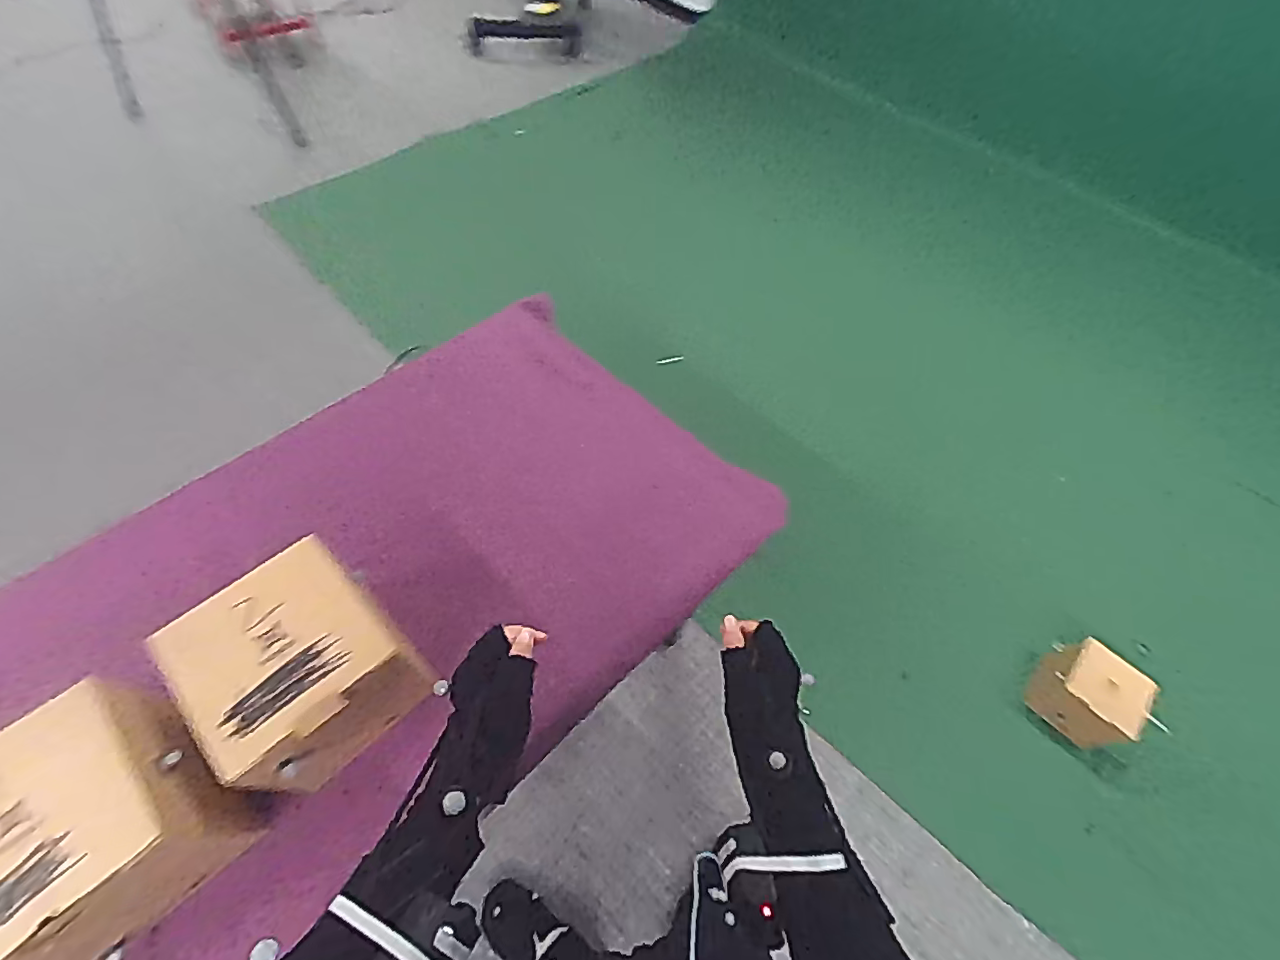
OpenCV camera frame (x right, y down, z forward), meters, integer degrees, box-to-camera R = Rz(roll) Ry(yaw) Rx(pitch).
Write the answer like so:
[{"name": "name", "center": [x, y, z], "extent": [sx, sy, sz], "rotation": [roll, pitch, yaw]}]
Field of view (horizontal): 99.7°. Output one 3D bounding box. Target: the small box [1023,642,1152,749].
[{"name": "small box", "center": [1.123, 0.549, 1.372], "extent": [0.168, 0.176, 0.179], "rotation": [40, 63, 19]}]
